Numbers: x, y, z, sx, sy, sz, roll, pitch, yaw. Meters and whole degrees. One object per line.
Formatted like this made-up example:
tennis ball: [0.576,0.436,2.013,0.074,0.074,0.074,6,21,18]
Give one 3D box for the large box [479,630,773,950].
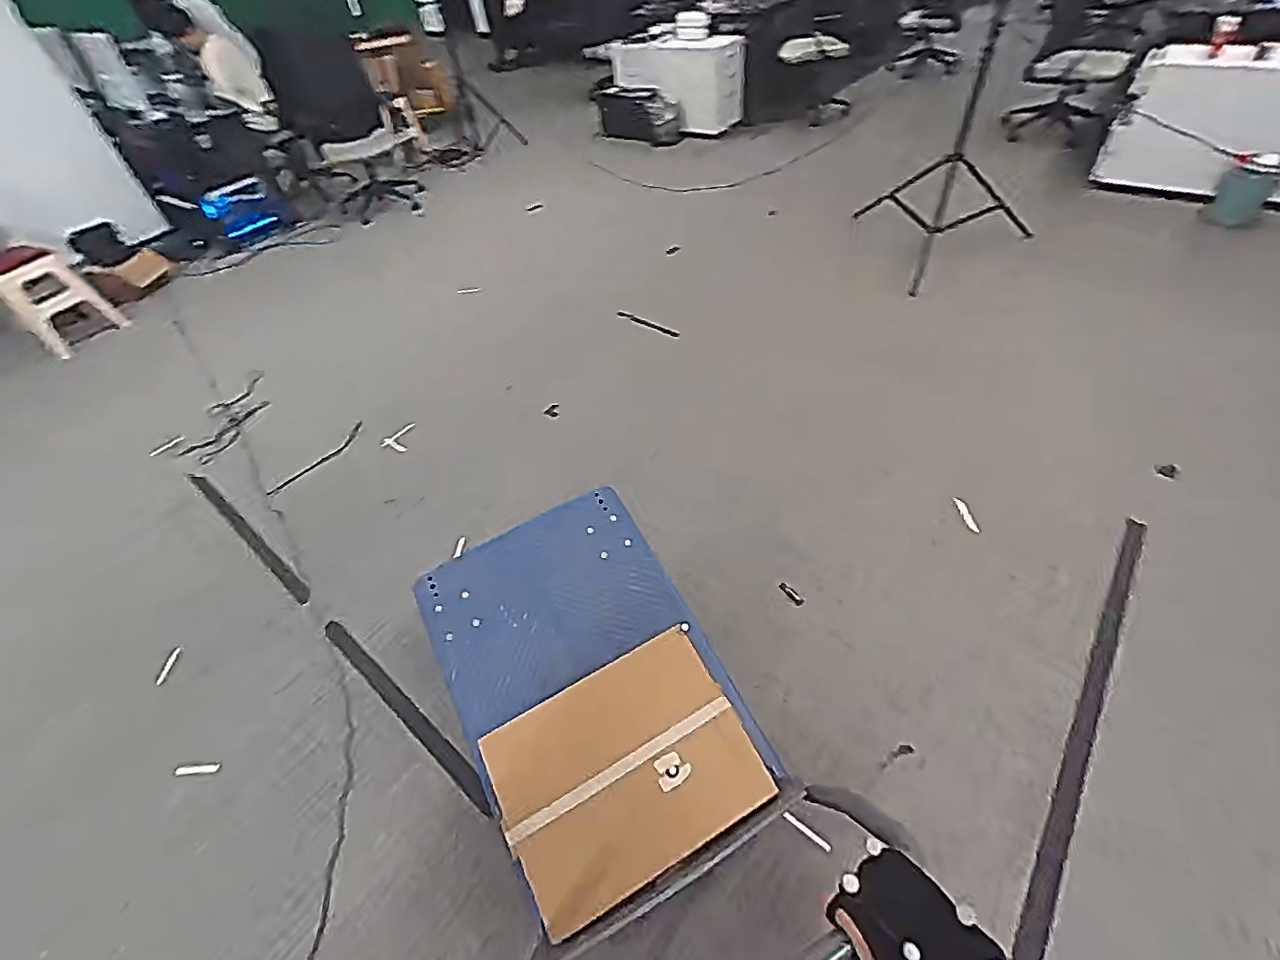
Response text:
large box: [-0.025,0.554,1.016,0.408,0.320,0.320,-27,63,-13]
